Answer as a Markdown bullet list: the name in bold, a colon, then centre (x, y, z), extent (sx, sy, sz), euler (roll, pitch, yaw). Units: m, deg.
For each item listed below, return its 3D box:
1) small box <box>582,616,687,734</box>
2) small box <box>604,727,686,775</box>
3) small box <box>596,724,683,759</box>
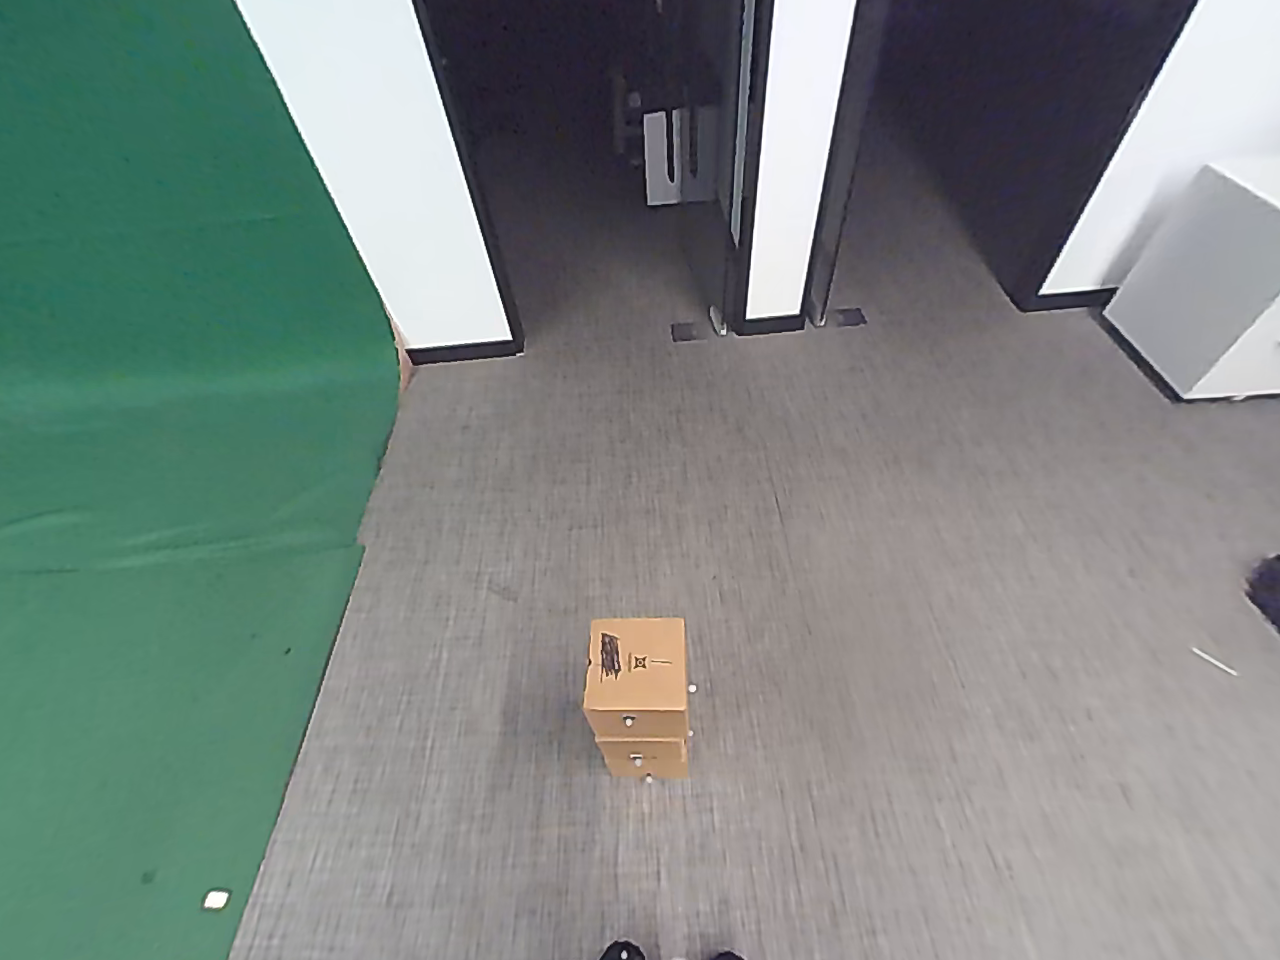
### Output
- **small box**: centre (-0.002, 0.369, 1.018), extent (0.179, 0.176, 0.168), euler (-1, 50, 5)
- **small box**: centre (0.018, 0.582, 1.266), extent (0.179, 0.176, 0.168), euler (-1, 50, 5)
- **small box**: centre (0.005, 0.474, 1.145), extent (0.168, 0.176, 0.179), euler (-3, 51, 5)
